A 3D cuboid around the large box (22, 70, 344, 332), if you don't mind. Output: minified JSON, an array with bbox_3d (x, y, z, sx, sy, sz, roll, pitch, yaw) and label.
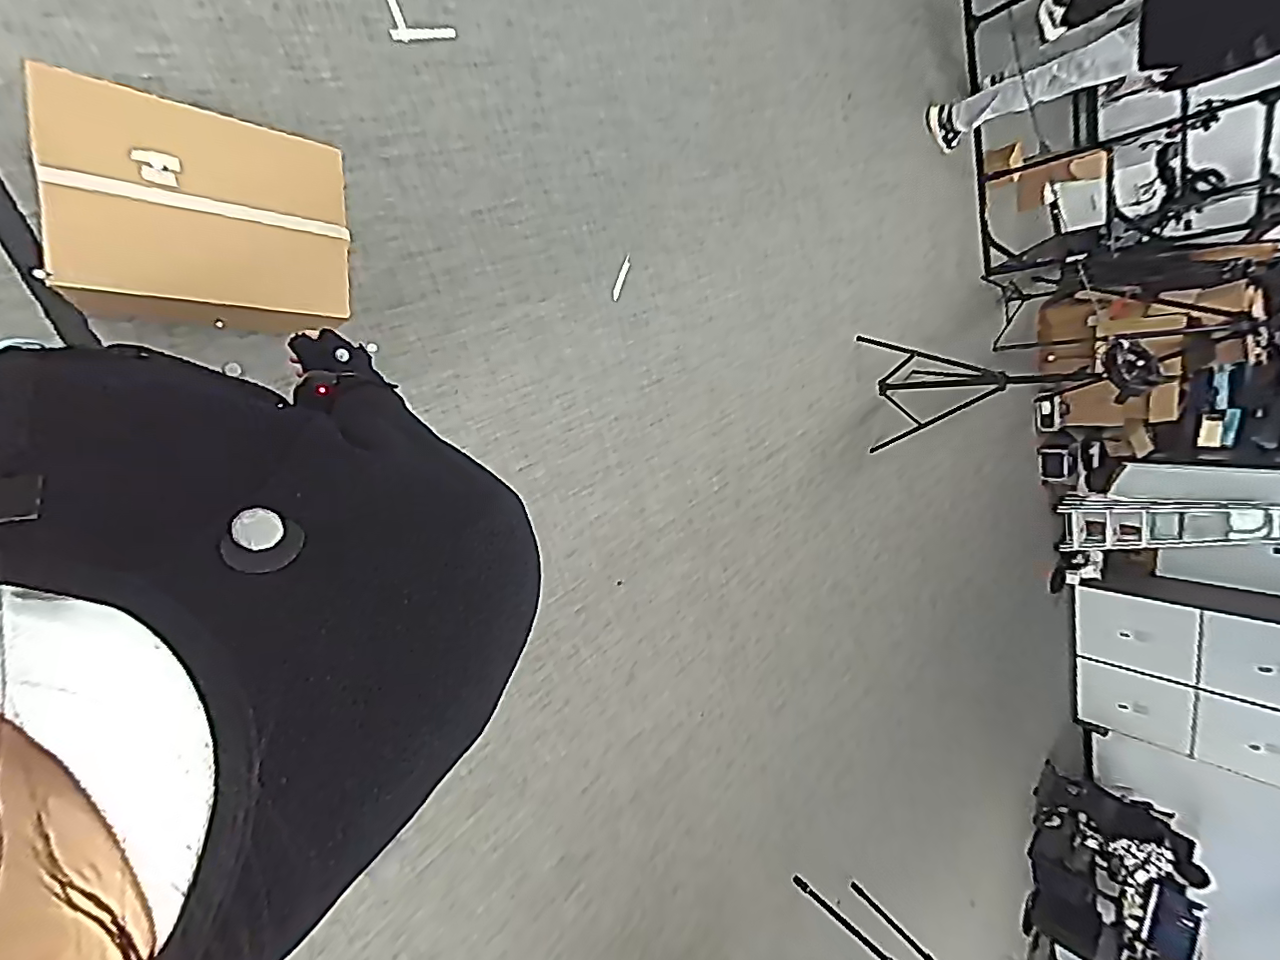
[{"bbox_3d":[-0.824,-0.470,1.032,0.408,0.320,0.320,-4,96,-38],"label":"large box"}]
